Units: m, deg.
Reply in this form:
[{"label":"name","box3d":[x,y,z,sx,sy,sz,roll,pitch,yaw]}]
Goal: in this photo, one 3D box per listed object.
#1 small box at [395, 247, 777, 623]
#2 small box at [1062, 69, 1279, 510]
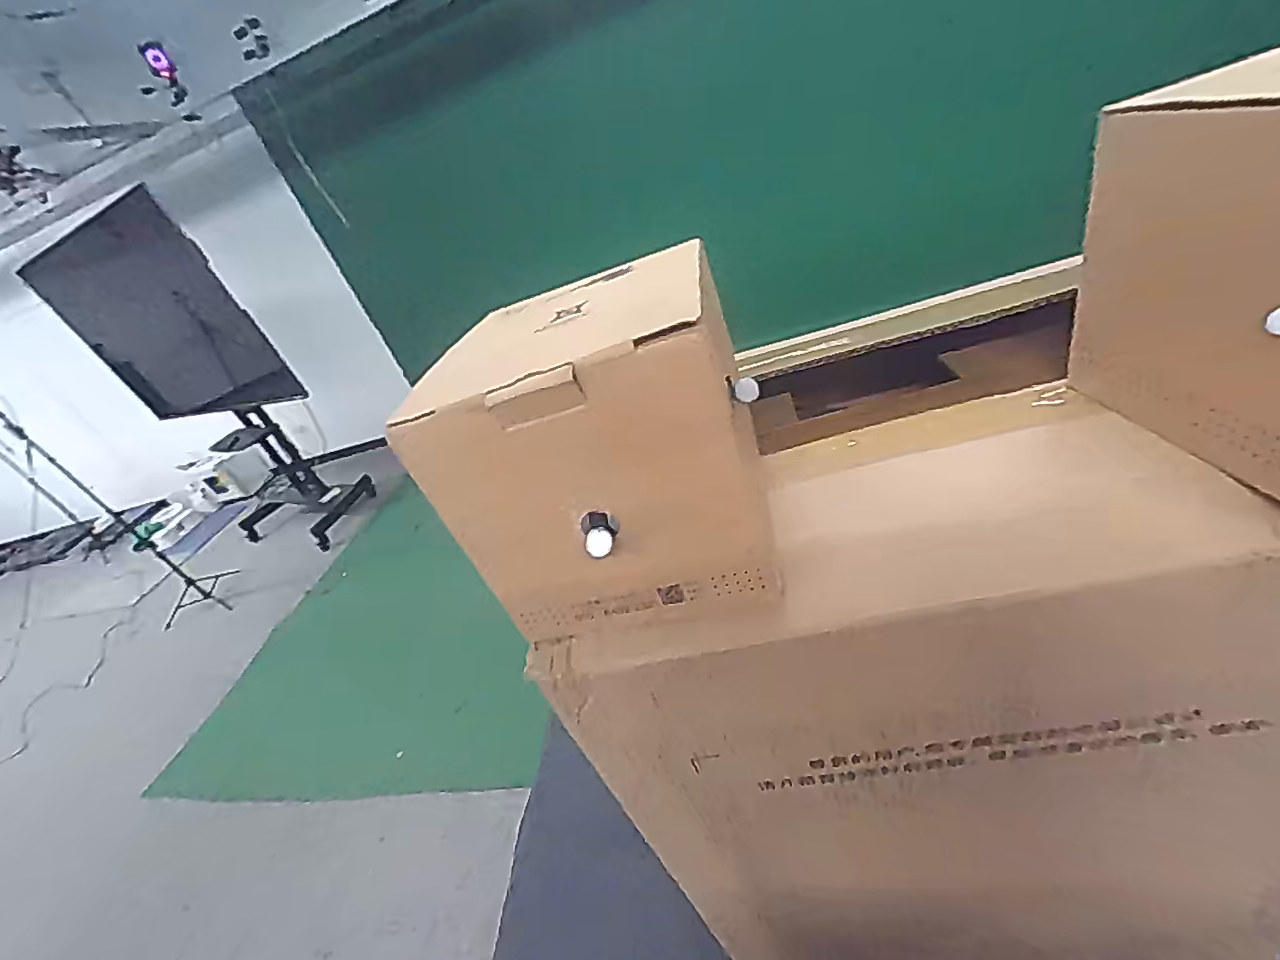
[{"label":"small box","box3d":[-0.014,-0.024,0.357,0.168,0.176,0.179,-13,33,14]},{"label":"small box","box3d":[0.350,-0.101,0.258,0.168,0.176,0.179,-15,31,5]}]
